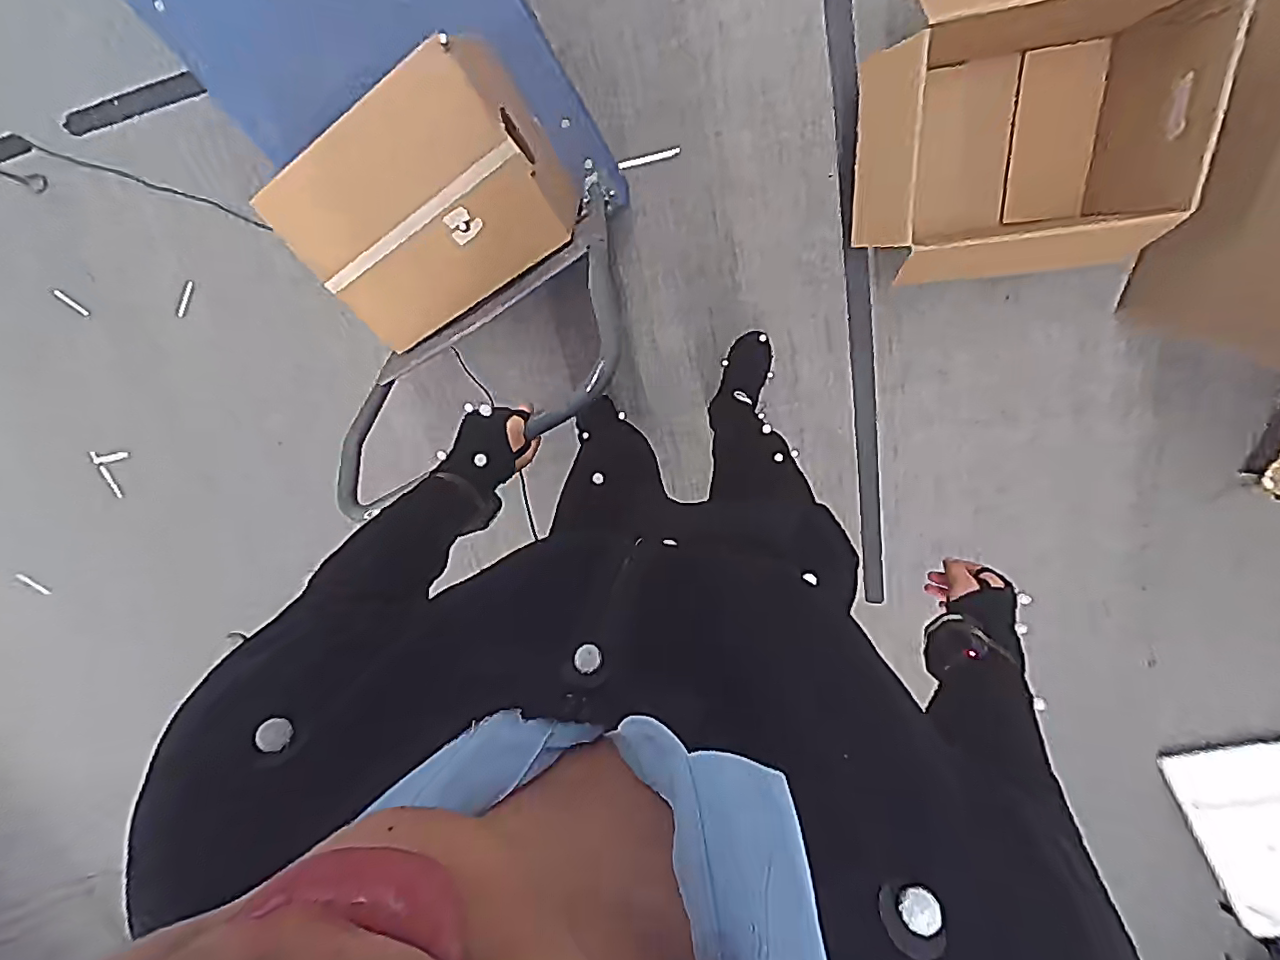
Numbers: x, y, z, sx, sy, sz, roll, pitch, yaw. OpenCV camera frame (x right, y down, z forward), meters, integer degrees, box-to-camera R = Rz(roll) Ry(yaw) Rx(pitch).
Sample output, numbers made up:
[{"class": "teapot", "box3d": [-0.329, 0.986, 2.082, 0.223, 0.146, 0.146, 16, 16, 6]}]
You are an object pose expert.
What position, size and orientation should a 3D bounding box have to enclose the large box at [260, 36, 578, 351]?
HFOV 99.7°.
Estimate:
[{"class": "large box", "box3d": [-0.367, -0.516, 0.994, 0.408, 0.320, 0.320, -26, 127, 17]}]
